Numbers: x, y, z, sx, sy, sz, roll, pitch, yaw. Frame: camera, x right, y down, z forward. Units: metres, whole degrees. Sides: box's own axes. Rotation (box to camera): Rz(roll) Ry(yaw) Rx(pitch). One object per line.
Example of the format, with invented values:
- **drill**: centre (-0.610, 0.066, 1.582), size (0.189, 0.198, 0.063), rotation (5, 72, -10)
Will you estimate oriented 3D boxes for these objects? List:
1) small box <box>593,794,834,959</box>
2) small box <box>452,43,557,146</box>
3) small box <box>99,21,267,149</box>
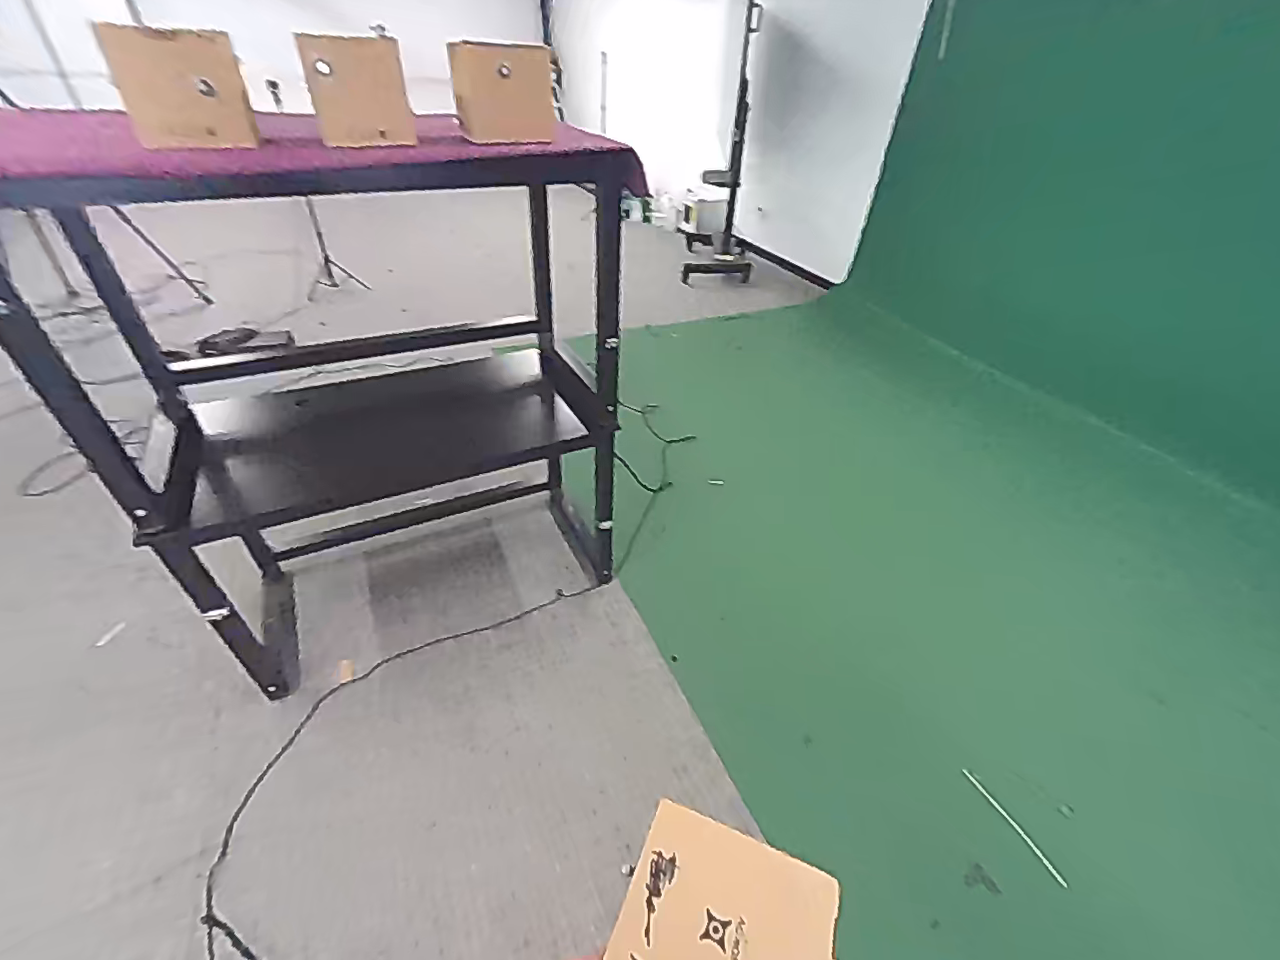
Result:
- **small box**: centre (0.055, 0.436, 0.487), size (0.179, 0.176, 0.168), rotation (19, 34, 14)
- **small box**: centre (-0.287, -0.823, 1.159), size (0.179, 0.176, 0.168), rotation (-15, 41, -22)
- **small box**: centre (-0.780, -0.689, 0.948), size (0.168, 0.176, 0.179), rotation (-13, 40, -22)
